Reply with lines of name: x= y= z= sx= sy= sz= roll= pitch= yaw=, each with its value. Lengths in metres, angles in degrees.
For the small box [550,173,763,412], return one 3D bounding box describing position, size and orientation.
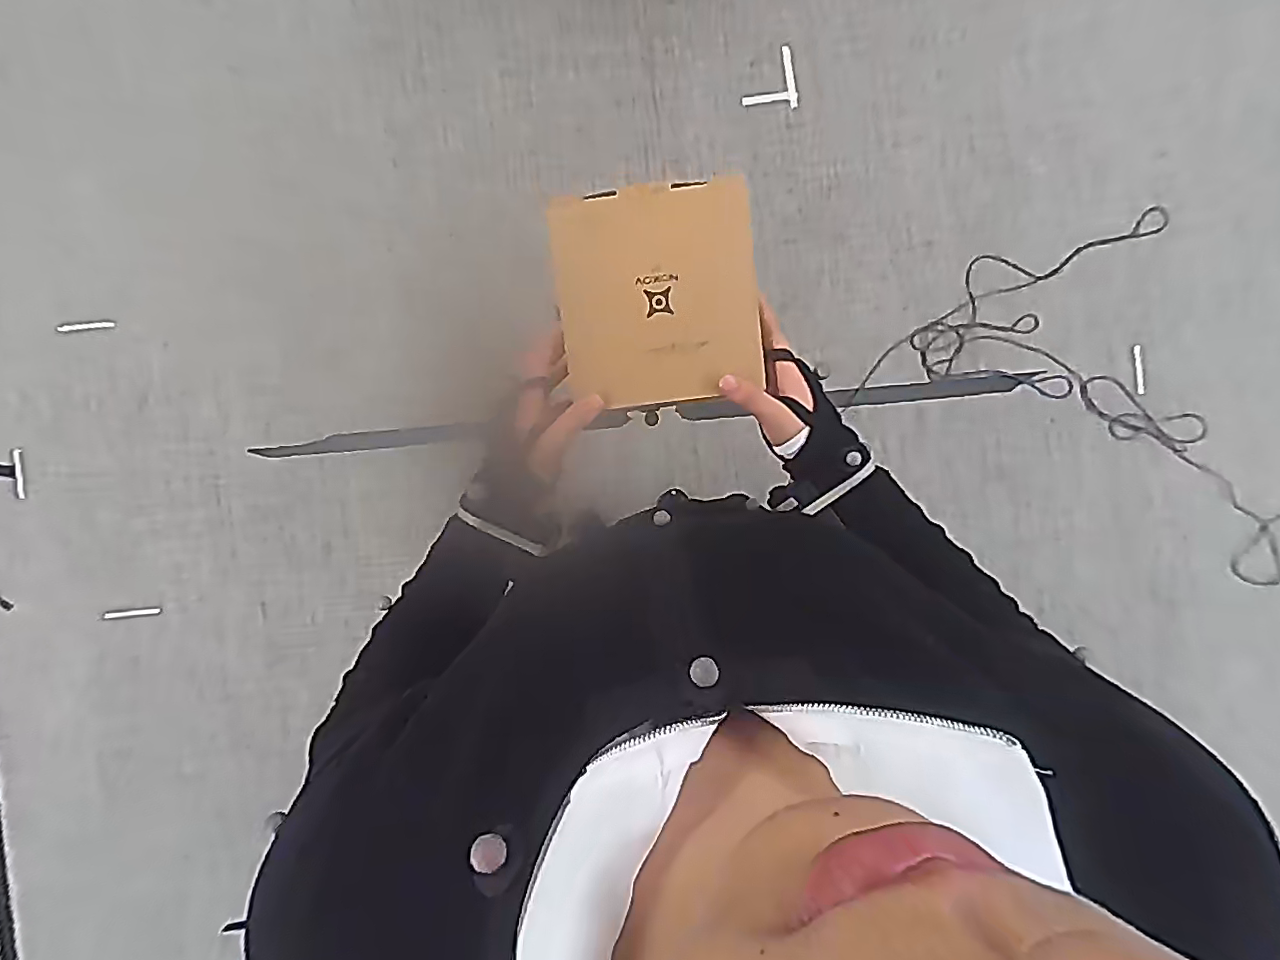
small box: x=0.013 y=-0.165 z=0.529 sx=0.168 sy=0.176 sz=0.179 roll=-7 pitch=96 yaw=0
